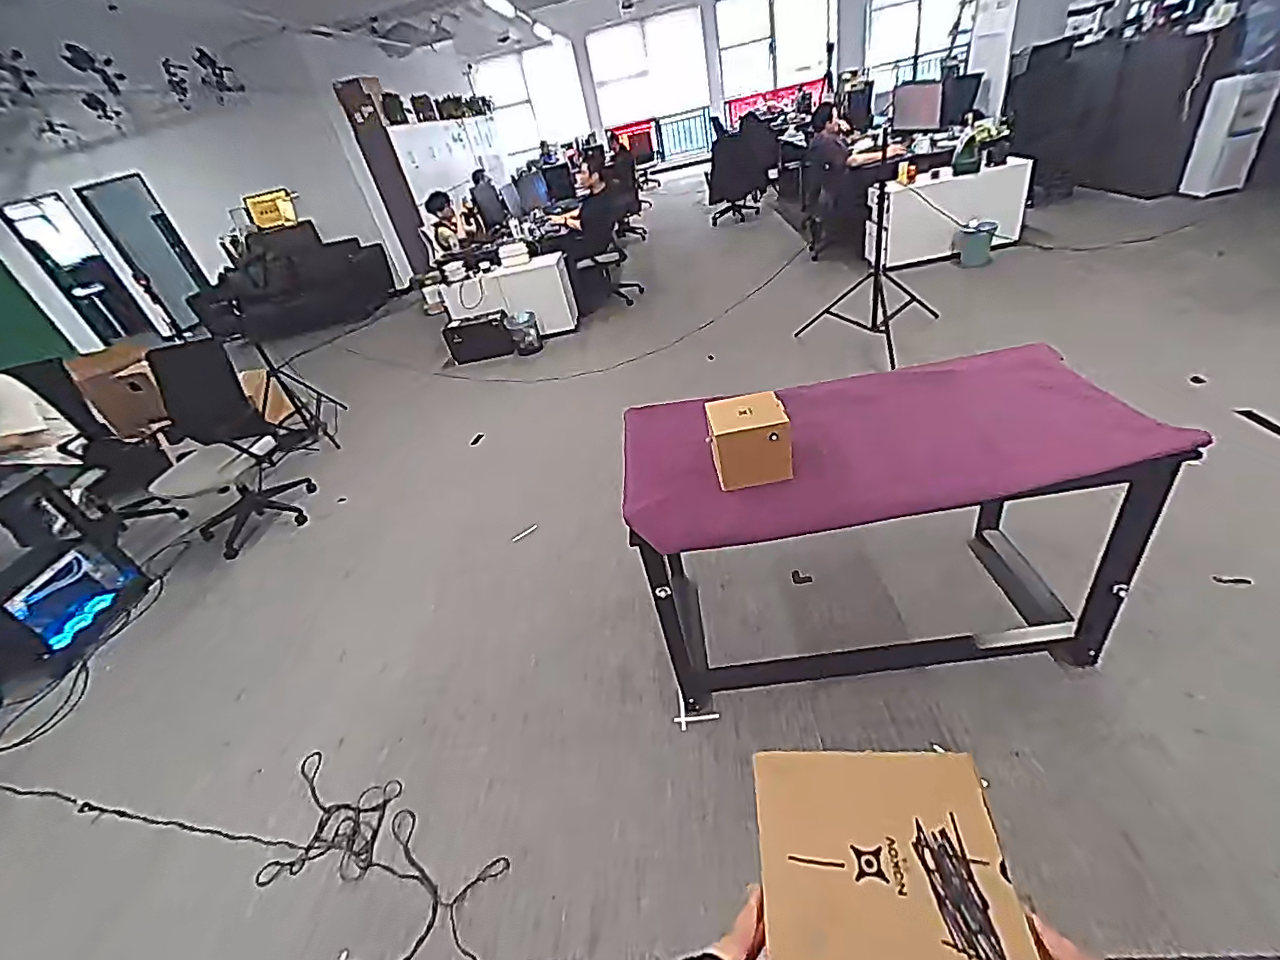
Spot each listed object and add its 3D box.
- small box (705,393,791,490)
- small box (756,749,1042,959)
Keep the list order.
[{"bbox_3d":[0.268,-0.093,1.347,0.179,0.176,0.168,-10,34,4],"label":"small box"},{"bbox_3d":[0.192,0.344,0.446,0.179,0.176,0.168,-5,38,12],"label":"small box"}]
